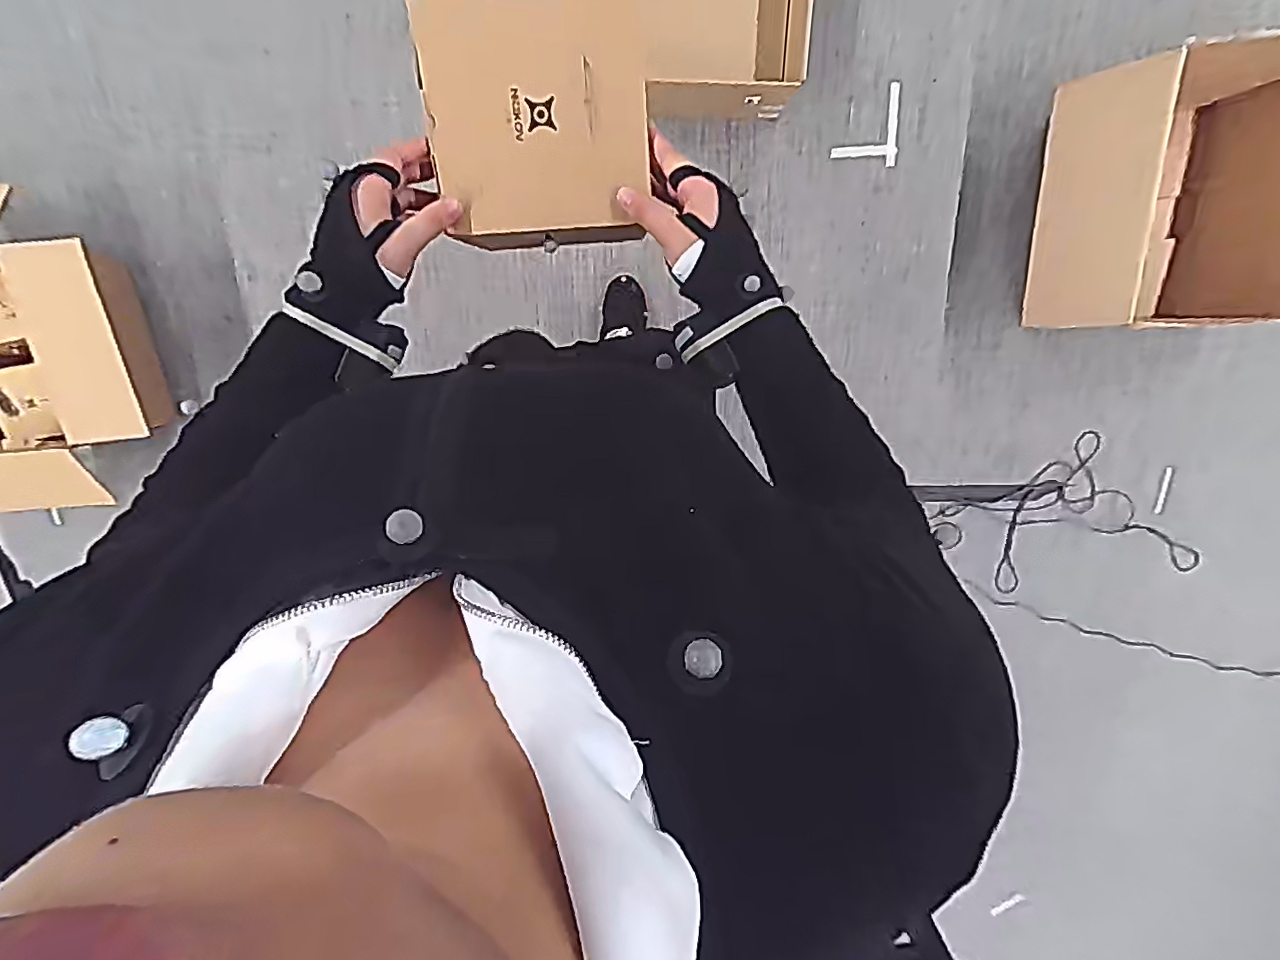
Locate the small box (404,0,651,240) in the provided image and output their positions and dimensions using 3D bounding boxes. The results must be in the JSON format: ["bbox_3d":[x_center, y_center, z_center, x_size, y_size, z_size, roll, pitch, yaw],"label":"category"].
[{"bbox_3d":[-0.086,-0.321,0.496,0.179,0.176,0.168,-6,110,-1],"label":"small box"}]
